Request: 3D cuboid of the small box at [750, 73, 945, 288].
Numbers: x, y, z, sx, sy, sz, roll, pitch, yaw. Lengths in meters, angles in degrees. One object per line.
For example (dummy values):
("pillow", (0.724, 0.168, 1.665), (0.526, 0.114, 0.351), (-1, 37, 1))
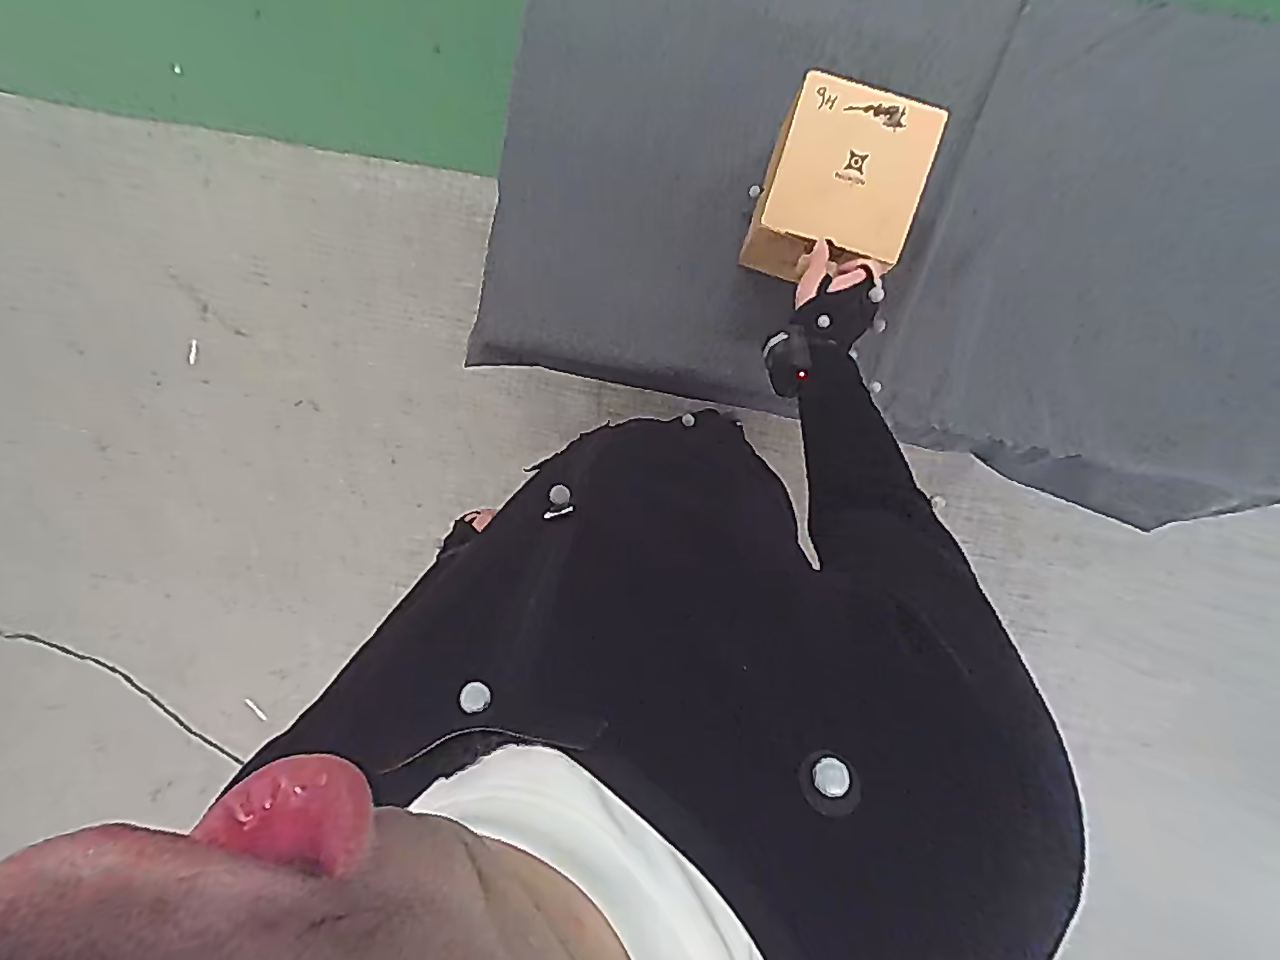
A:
("small box", (0.247, -0.364, 0.694), (0.168, 0.176, 0.179), (15, 97, 2))
